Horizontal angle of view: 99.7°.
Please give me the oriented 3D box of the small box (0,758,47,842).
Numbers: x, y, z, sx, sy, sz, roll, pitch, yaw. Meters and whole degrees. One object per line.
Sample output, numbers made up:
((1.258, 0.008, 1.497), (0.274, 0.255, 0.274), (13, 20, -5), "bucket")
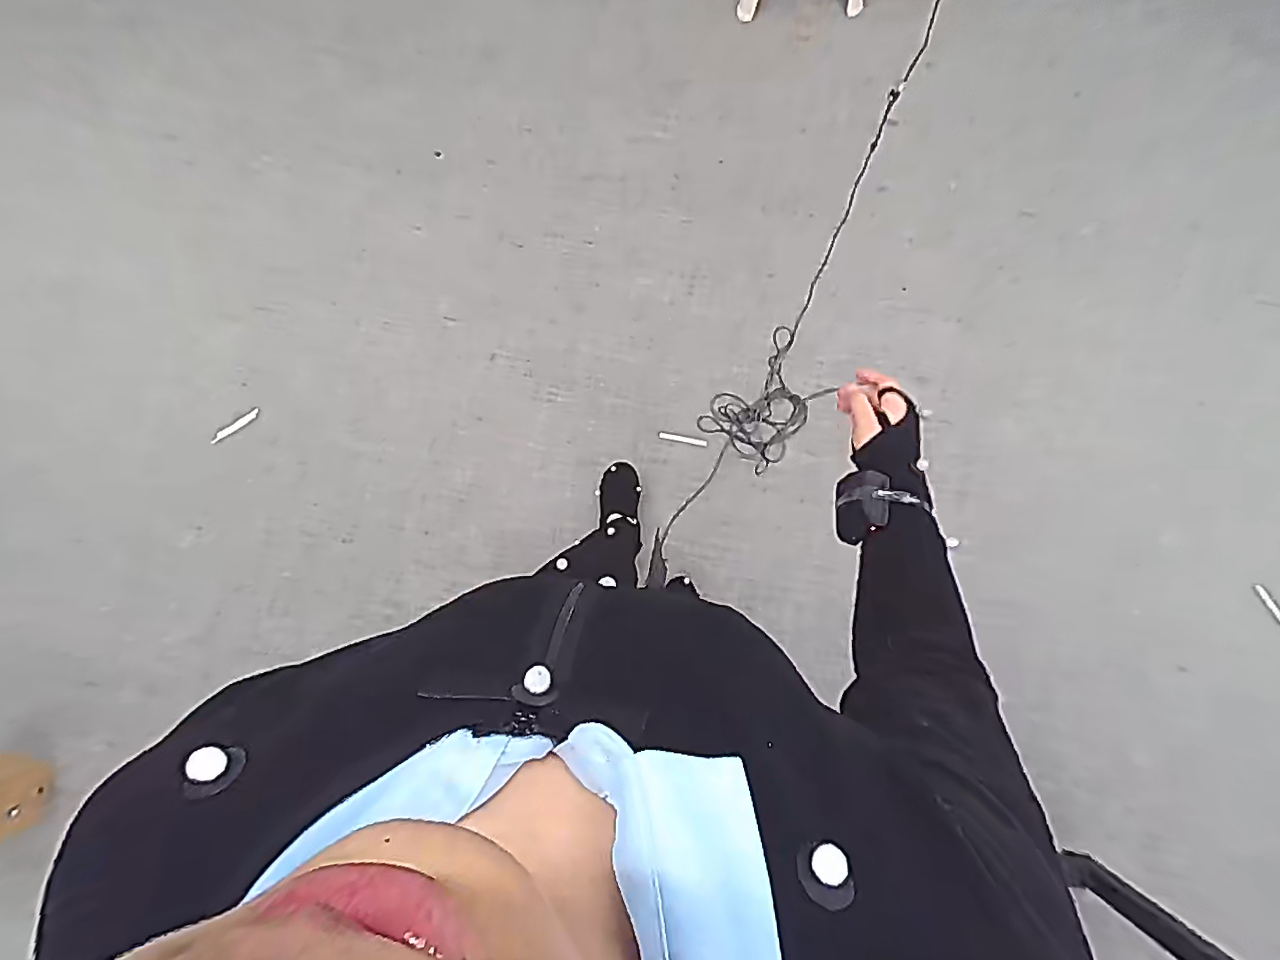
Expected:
((-1.715, 0.842, 1.395), (0.179, 0.176, 0.168), (9, 82, 4), "small box")
